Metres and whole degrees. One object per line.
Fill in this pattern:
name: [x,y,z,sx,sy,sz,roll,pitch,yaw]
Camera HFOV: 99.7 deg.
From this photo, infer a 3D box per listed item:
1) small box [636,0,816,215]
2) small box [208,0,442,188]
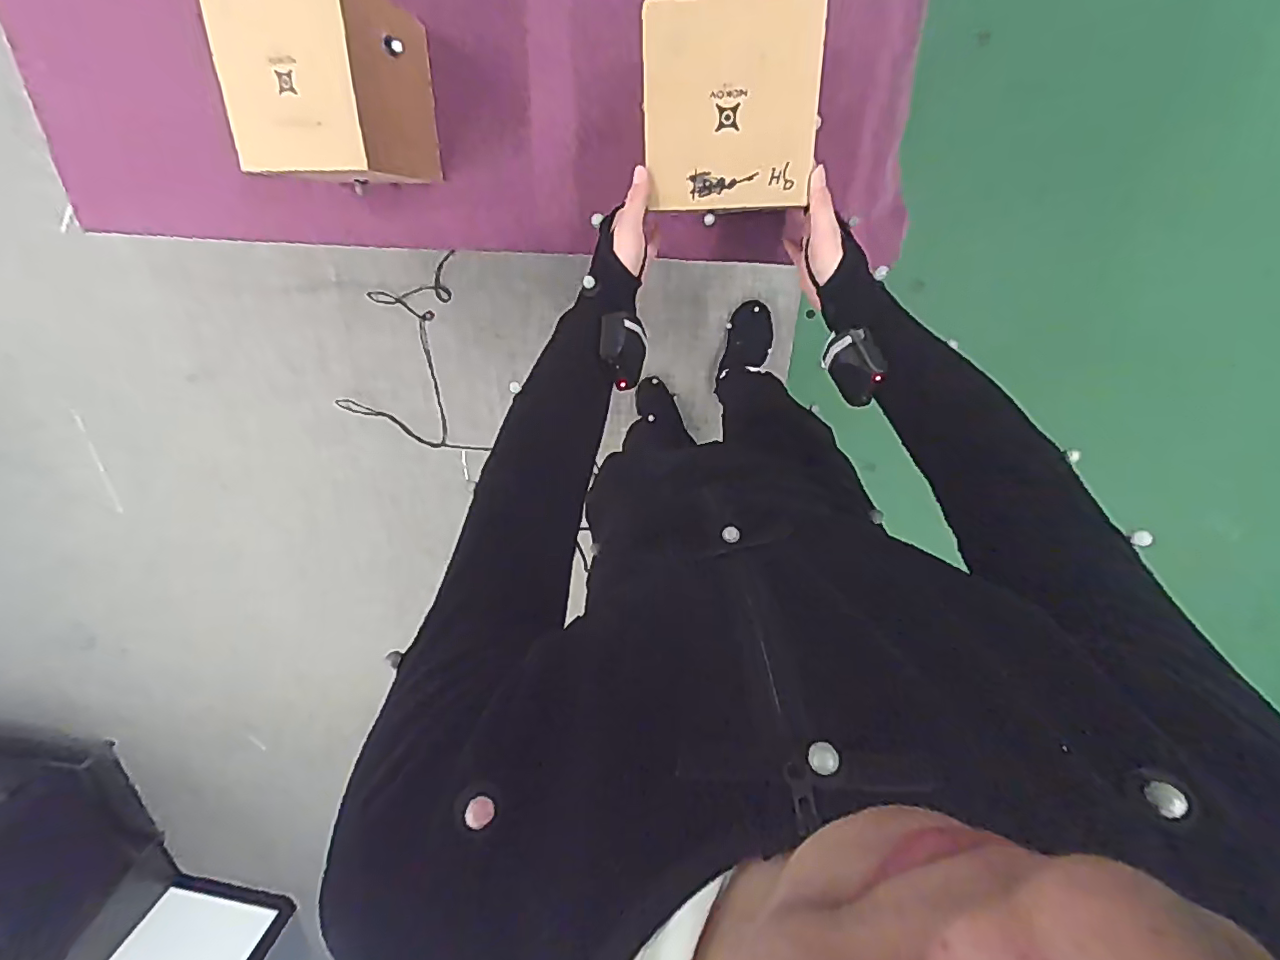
small box: [0.092,-0.391,0.593,0.168,0.176,0.179,4,117,12]
small box: [-0.368,-0.468,0.666,0.168,0.176,0.179,6,116,10]
